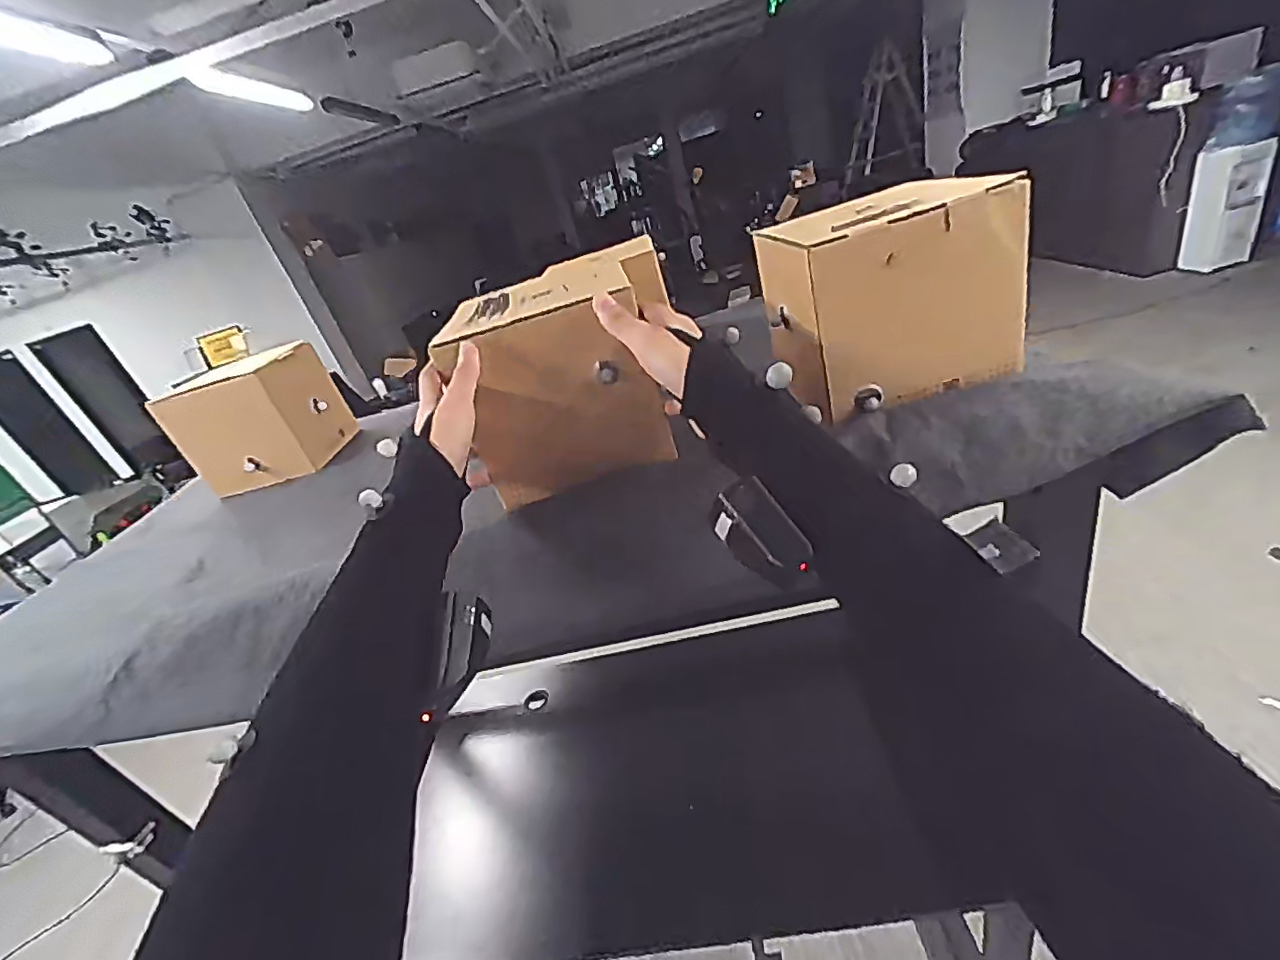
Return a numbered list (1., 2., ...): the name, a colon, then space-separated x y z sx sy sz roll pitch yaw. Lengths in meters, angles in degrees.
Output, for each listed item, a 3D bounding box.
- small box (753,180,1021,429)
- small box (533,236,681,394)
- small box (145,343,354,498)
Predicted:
1. small box: 0.219 -0.162 0.507 0.168 0.176 0.179 -16 27 5
2. small box: -0.042 -0.241 0.802 0.168 0.176 0.179 -15 29 6
3. small box: -0.597 -0.095 0.860 0.179 0.176 0.168 -14 29 5
